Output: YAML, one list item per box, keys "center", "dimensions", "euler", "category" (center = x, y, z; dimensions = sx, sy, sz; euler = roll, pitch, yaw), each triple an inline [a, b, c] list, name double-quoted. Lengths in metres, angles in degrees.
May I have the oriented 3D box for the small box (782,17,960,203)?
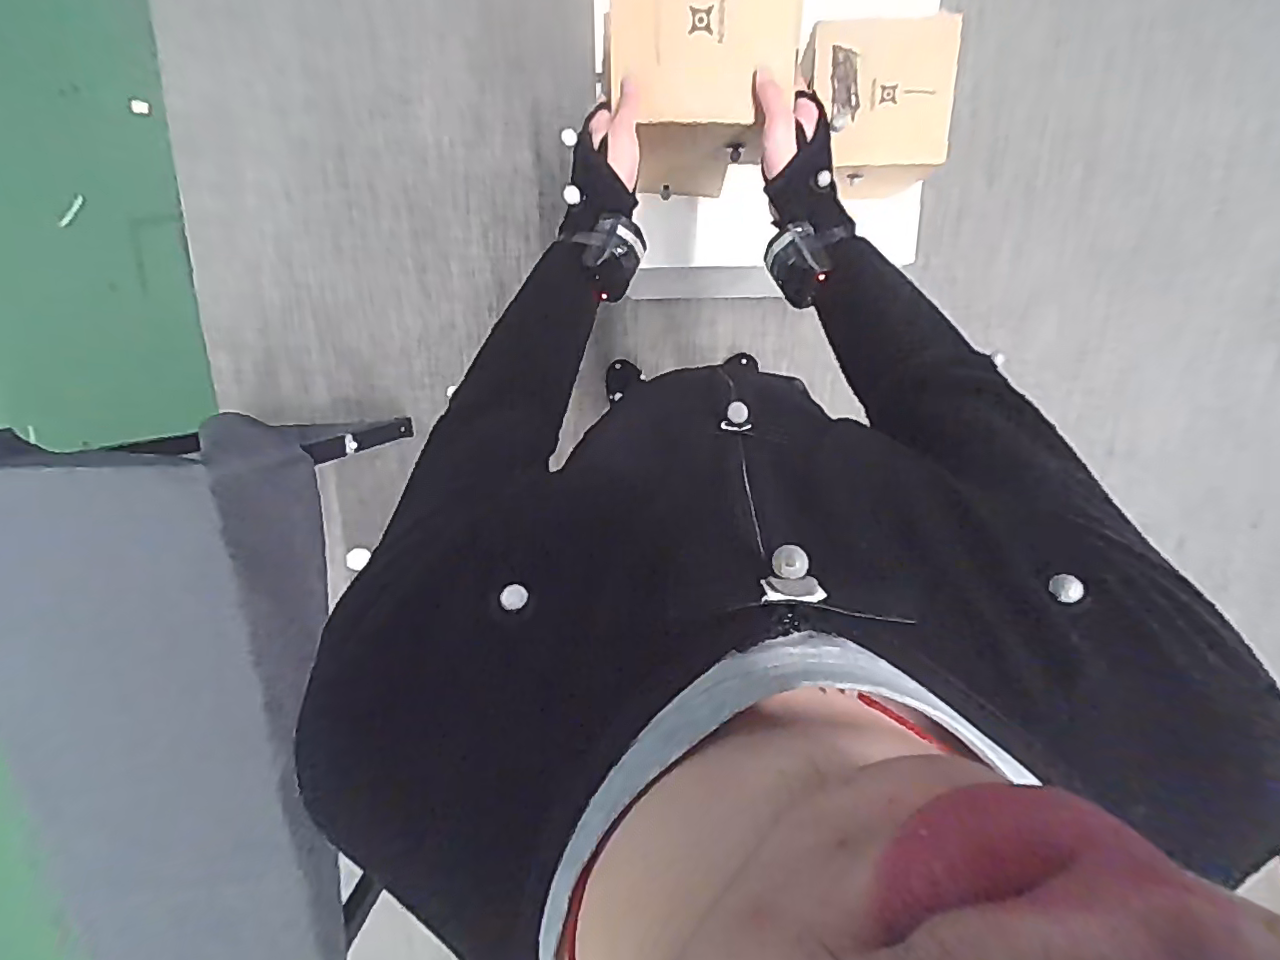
- center: [0.300, -0.492, 0.745]
  dimensions: [0.179, 0.176, 0.168]
  euler: [0, 103, 2]
  category: "small box"

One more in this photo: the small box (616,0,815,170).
- center: [0.065, -0.428, 0.549]
  dimensions: [0.179, 0.176, 0.168]
  euler: [-1, 106, 0]
  category: "small box"
